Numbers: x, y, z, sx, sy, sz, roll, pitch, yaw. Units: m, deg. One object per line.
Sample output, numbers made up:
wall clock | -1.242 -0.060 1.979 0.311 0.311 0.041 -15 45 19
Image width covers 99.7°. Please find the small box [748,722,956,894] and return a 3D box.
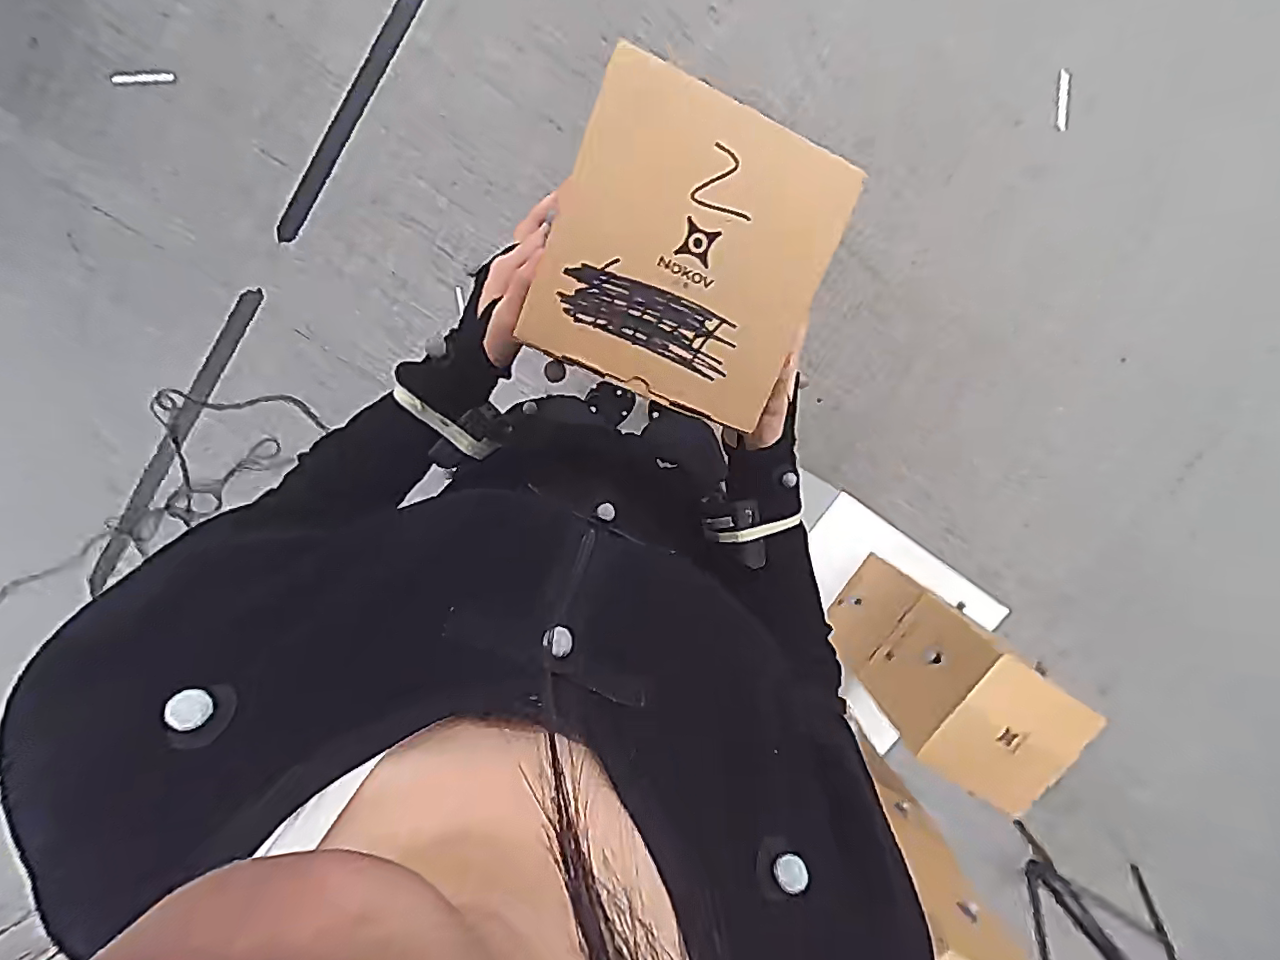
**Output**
small box | 0.281 0.480 0.758 0.179 0.176 0.168 35 97 -9

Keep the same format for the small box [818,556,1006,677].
small box | 0.429 0.249 0.881 0.179 0.176 0.168 32 99 -9

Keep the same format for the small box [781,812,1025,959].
small box | 0.288 0.514 0.597 0.179 0.176 0.168 37 97 -12

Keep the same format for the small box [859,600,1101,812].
small box | 0.433 0.285 0.722 0.179 0.176 0.168 33 99 -10
